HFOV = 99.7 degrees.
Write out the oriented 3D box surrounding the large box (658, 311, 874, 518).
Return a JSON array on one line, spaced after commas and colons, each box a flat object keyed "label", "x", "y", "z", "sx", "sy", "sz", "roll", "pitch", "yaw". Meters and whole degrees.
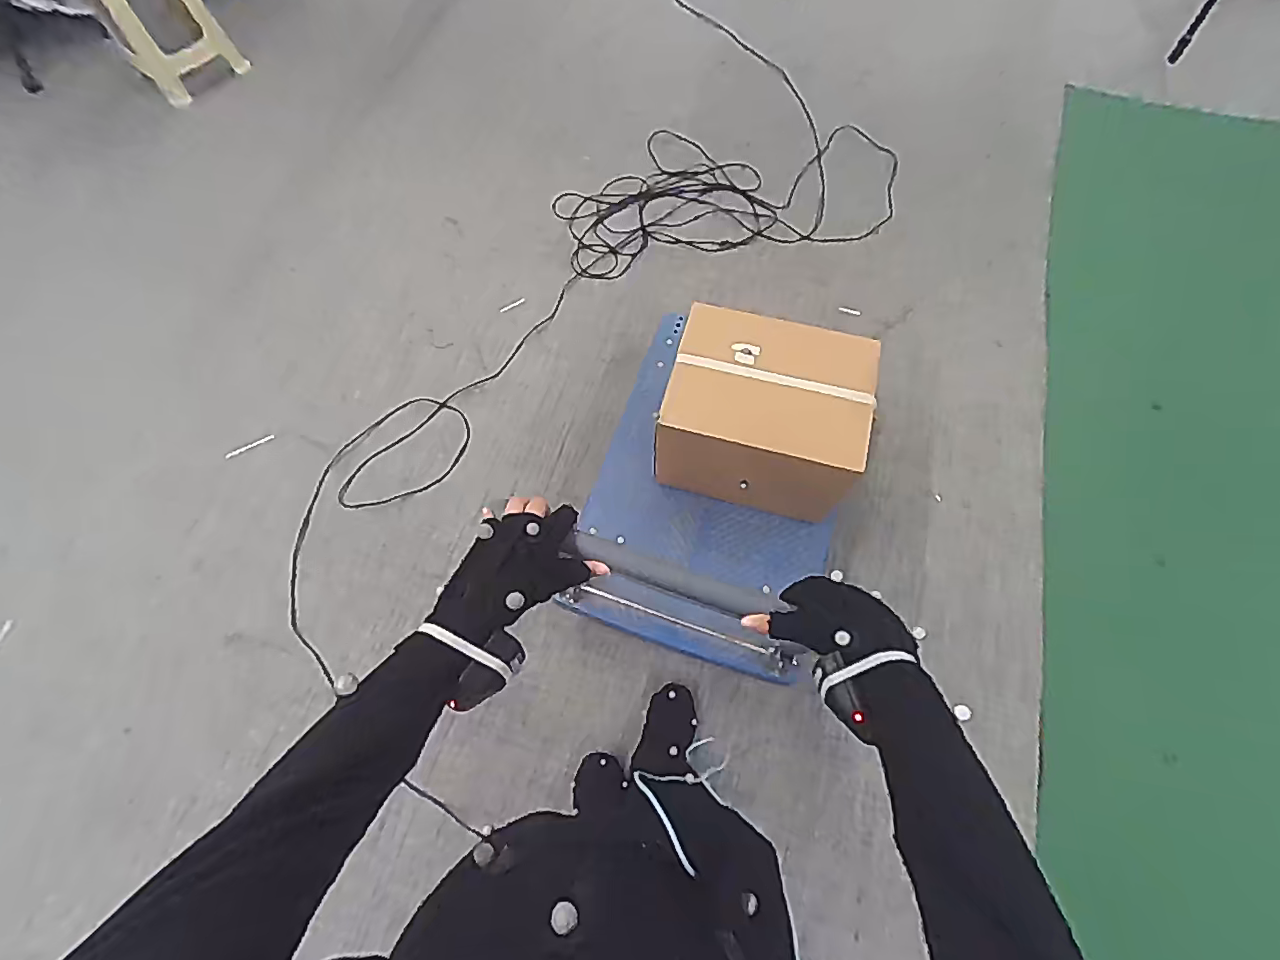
[{"label": "large box", "x": 0.272, "y": -0.136, "z": 1.241, "sx": 0.408, "sy": 0.320, "sz": 0.320, "roll": 13, "pitch": 68, "yaw": 8}]
